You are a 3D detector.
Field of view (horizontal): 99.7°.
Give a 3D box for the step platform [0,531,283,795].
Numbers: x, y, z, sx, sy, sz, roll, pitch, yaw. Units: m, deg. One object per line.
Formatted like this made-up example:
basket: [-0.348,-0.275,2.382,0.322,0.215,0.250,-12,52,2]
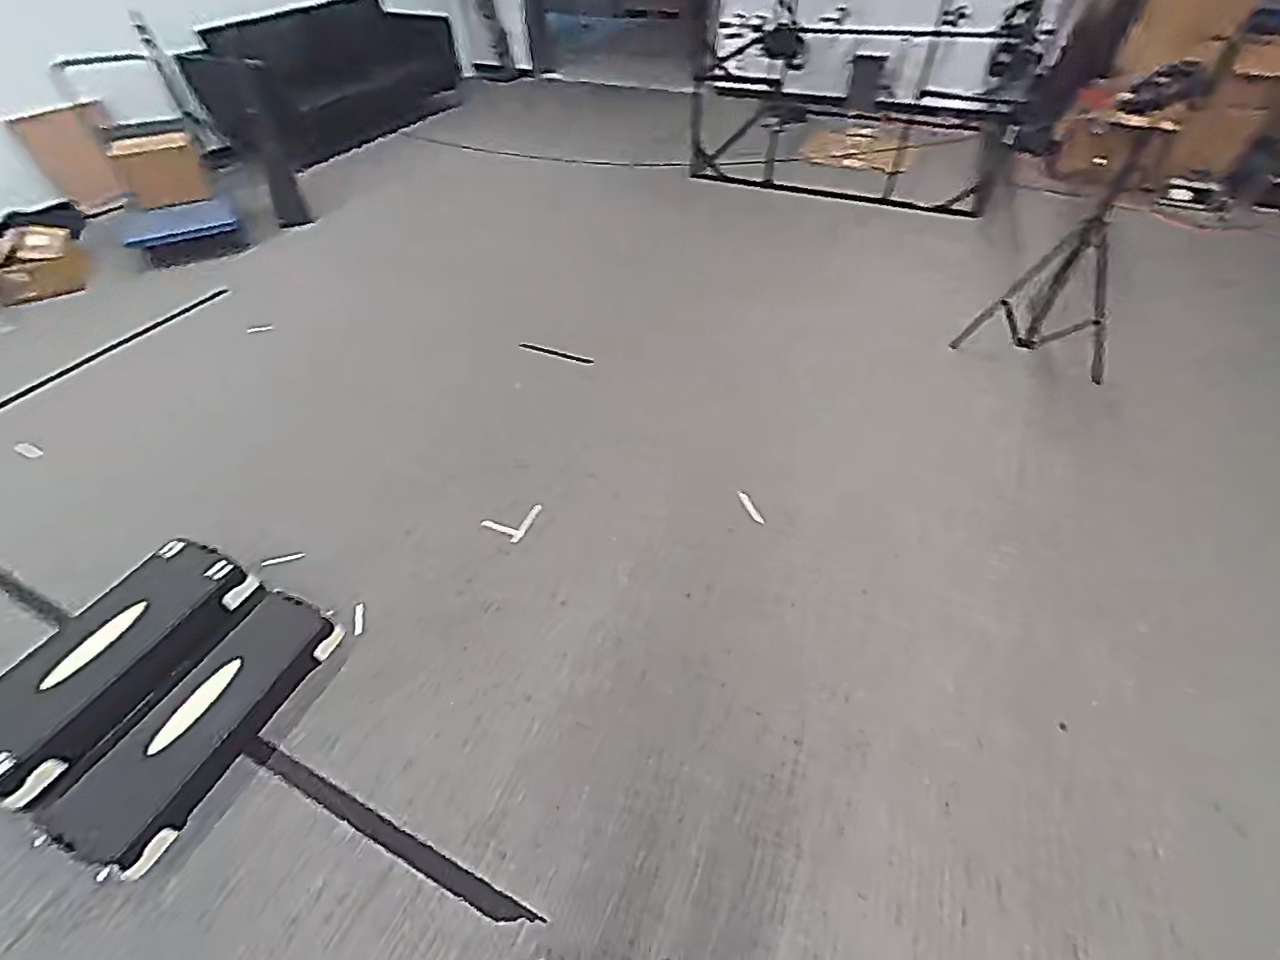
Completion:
step platform: [-1.377,0.458,1.489,0.286,0.204,0.684,17,49,16]
